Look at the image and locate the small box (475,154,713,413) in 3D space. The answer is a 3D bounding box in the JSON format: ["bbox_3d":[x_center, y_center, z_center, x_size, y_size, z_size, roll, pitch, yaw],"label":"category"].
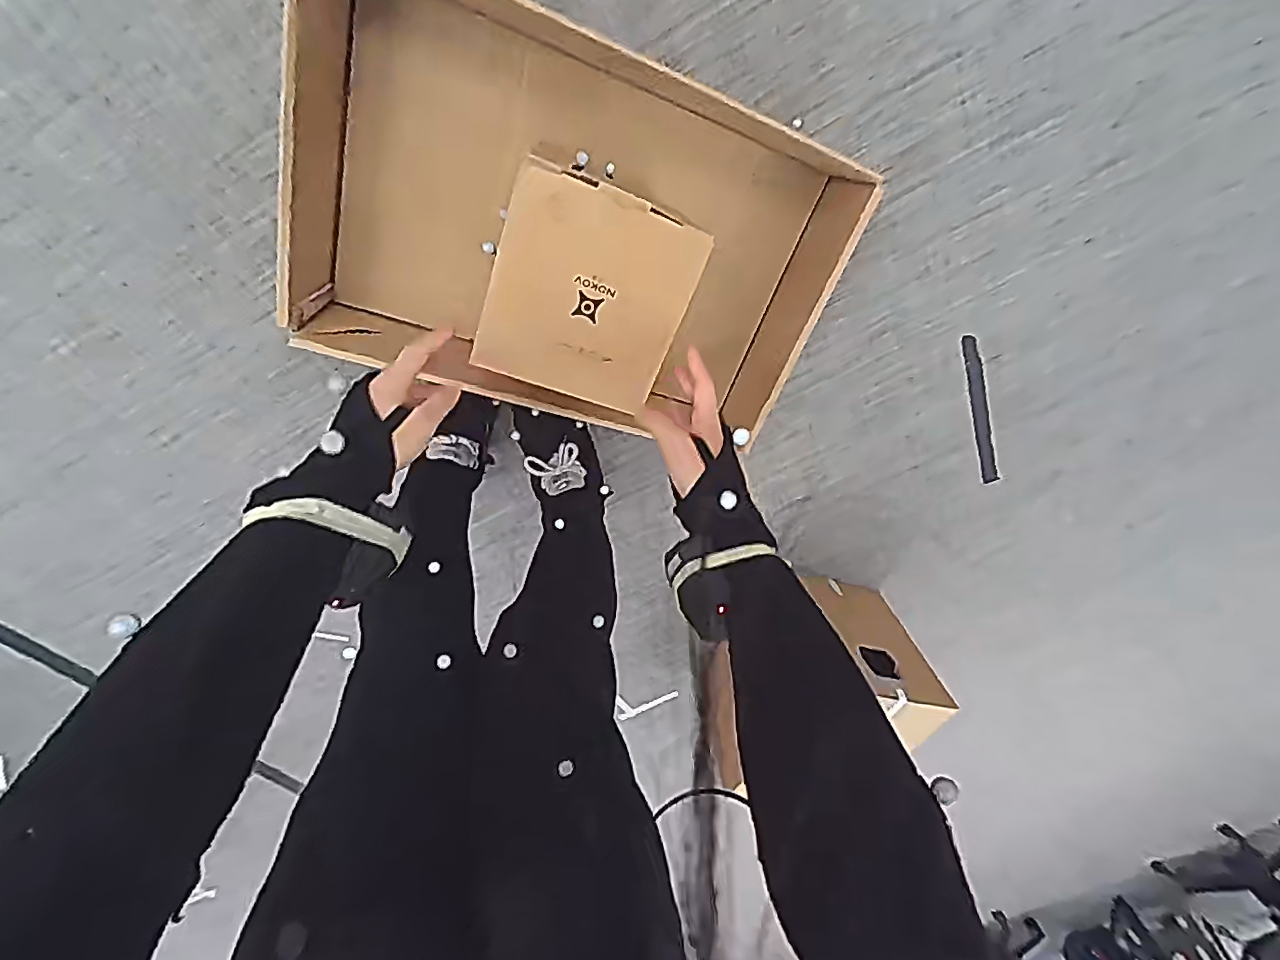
[{"bbox_3d":[-0.053,-0.197,0.533,0.168,0.176,0.179,15,120,-17],"label":"small box"}]
